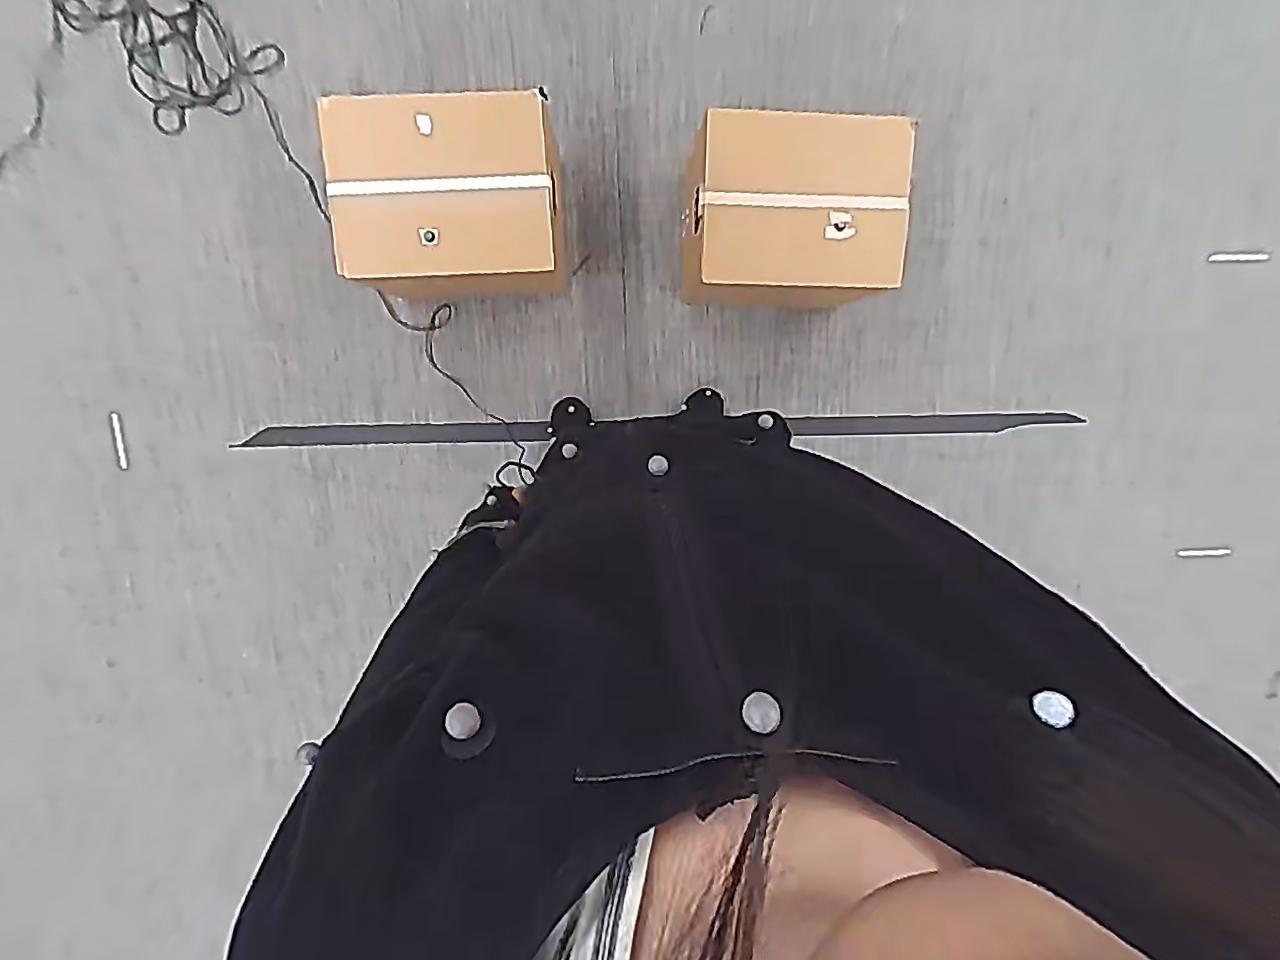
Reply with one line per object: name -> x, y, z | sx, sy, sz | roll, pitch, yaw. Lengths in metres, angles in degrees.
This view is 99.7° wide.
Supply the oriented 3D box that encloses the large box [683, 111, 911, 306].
large box -> 0.313, -0.568, 1.200 | 0.408, 0.320, 0.320 | 0, 101, -4
